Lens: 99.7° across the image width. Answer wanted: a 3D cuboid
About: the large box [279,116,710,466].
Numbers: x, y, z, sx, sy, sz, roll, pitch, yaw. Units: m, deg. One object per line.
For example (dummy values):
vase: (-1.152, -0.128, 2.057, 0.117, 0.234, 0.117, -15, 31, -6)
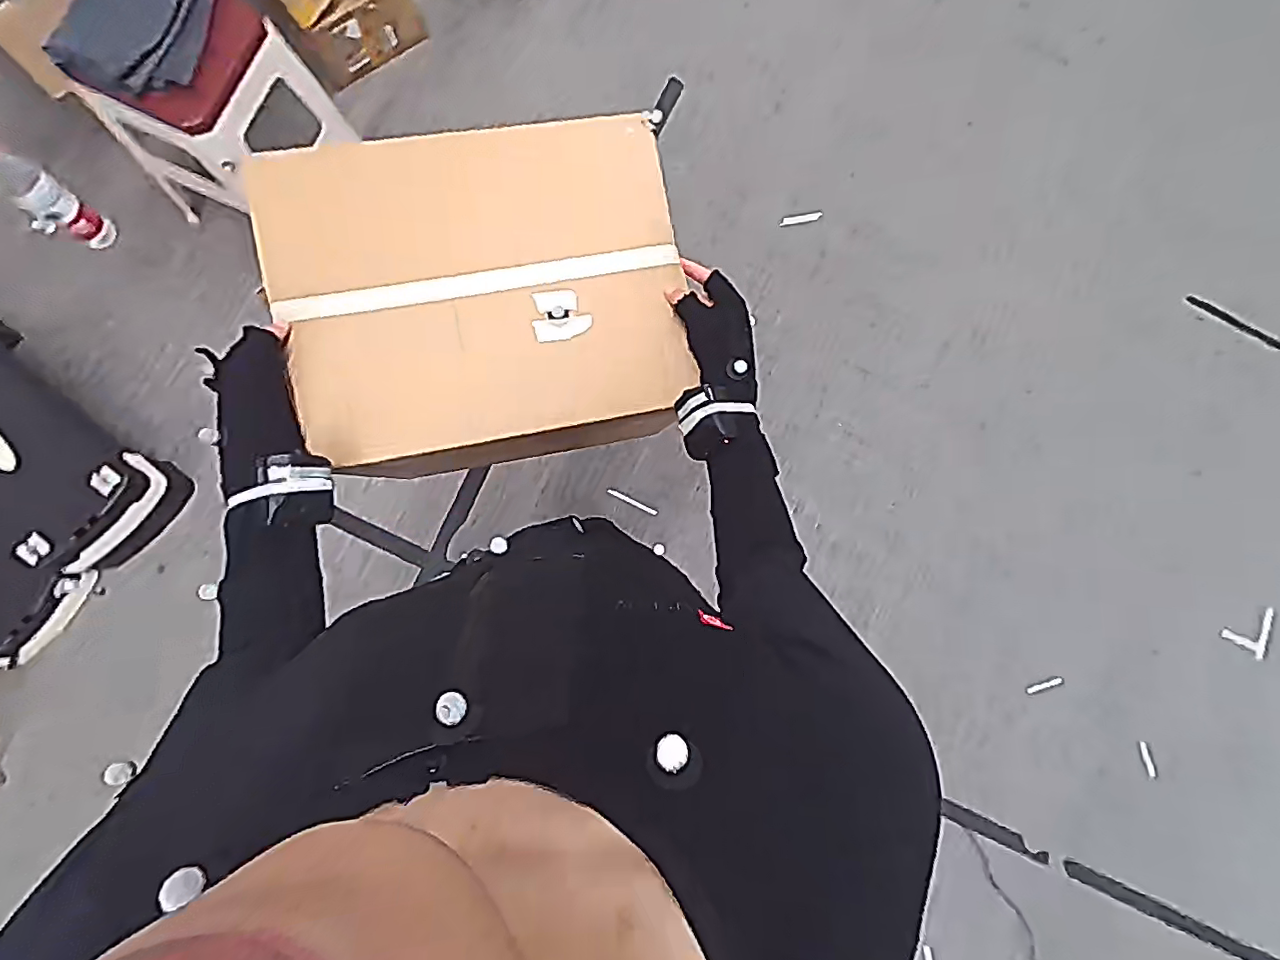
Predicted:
large box: (-0.163, -0.209, 0.714, 0.408, 0.320, 0.320, -11, 91, -8)
